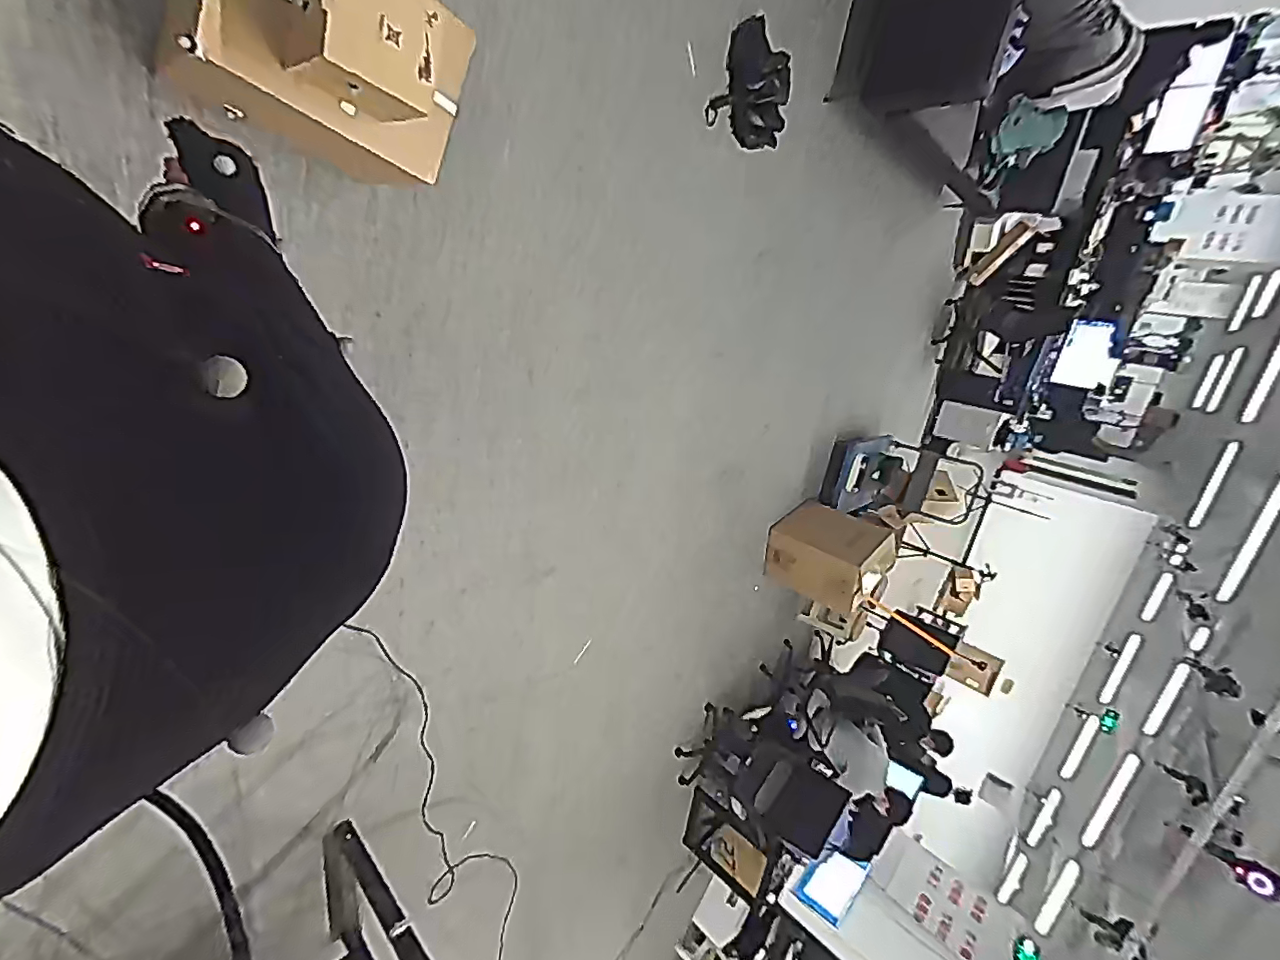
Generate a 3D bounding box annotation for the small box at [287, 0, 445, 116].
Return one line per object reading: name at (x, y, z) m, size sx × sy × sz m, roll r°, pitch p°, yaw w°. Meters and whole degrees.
small box at (-0.451, -0.724, 0.882) m, size 0.179 × 0.176 × 0.168 m, roll 0°, pitch 110°, yaw -49°
